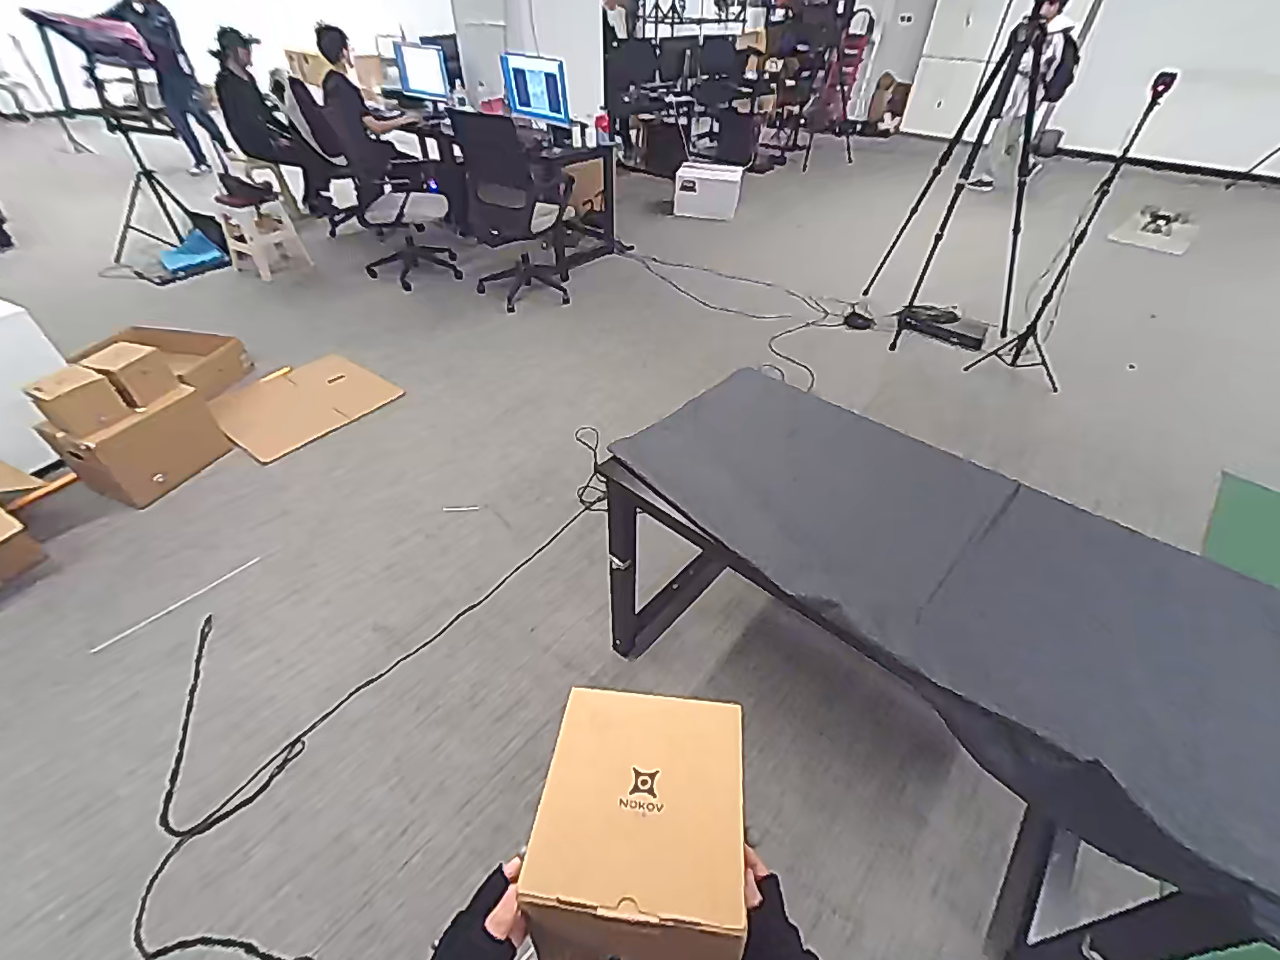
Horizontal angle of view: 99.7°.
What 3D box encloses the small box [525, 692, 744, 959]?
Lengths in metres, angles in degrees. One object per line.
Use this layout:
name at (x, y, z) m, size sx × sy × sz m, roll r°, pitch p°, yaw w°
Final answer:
small box at (0.005, 0.332, 0.505) m, size 0.168 × 0.176 × 0.179 m, roll 4°, pitch 36°, yaw 7°
